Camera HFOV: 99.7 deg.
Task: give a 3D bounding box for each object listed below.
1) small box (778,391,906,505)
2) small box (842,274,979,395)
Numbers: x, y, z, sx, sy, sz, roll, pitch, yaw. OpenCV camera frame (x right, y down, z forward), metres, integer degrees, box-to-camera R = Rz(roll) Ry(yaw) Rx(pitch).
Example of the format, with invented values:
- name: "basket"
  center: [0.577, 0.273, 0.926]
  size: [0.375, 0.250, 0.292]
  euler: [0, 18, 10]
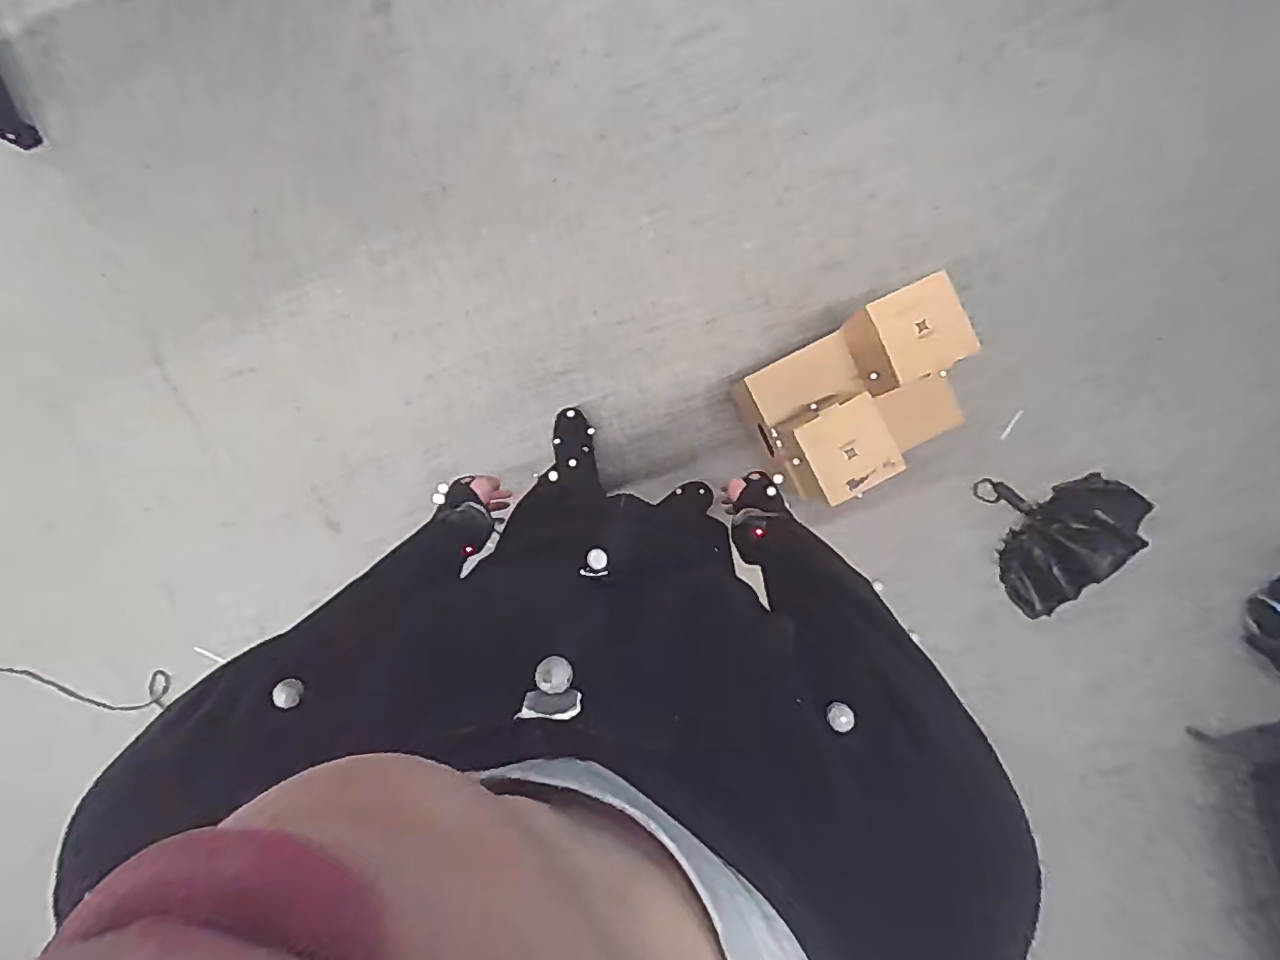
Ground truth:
- name: "small box"
  center: [0.411, -0.066, 1.134]
  size: [0.168, 0.176, 0.179]
  euler: [-28, 93, 4]
- name: "small box"
  center: [0.547, -0.286, 1.117]
  size: [0.168, 0.176, 0.179]
  euler: [-25, 88, 3]
